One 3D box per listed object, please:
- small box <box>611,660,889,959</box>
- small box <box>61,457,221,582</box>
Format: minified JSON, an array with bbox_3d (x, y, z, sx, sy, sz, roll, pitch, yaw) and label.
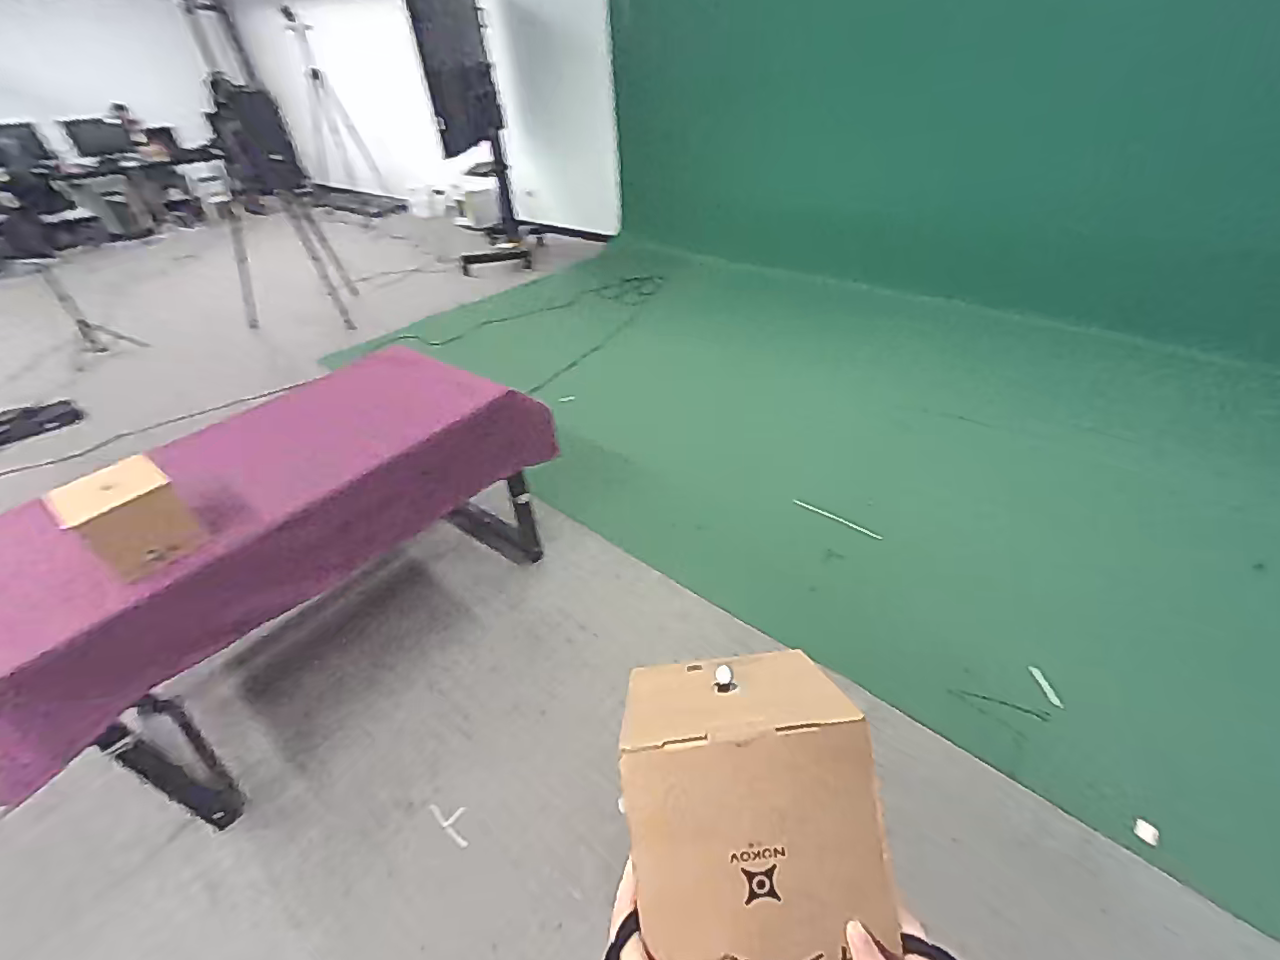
[{"bbox_3d":[0.072,0.255,0.433,0.168,0.179,0.176,-8,-3,2],"label":"small box"},{"bbox_3d":[-1.034,0.083,1.131,0.179,0.176,0.168,25,47,30],"label":"small box"}]
